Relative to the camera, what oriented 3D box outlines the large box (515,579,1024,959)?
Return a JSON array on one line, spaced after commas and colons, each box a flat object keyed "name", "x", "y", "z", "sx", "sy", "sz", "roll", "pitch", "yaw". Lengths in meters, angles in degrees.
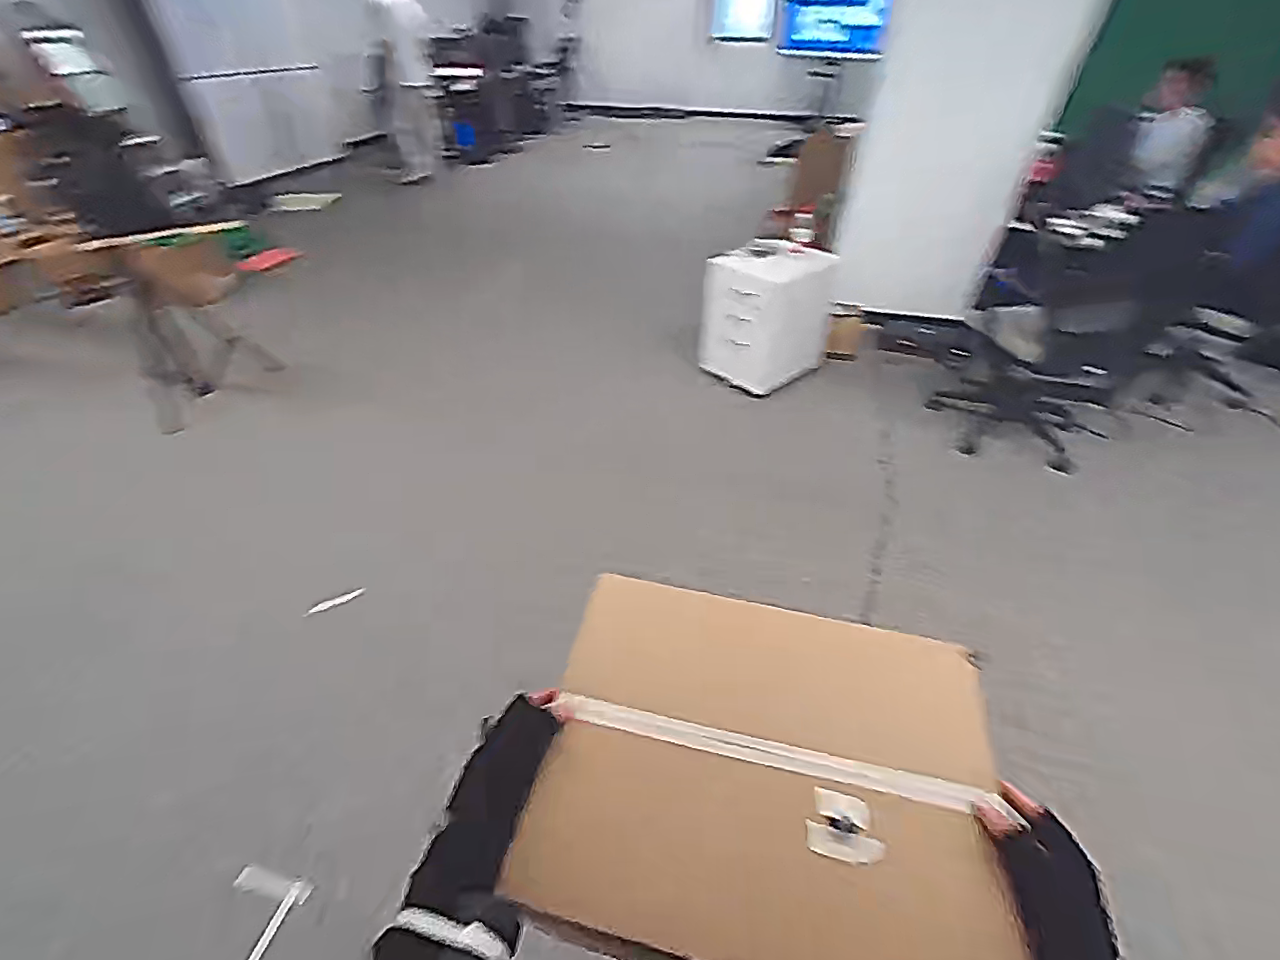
[{"name": "large box", "x": 0.116, "y": 0.357, "z": 0.618, "sx": 0.408, "sy": 0.320, "sz": 0.320, "roll": 10, "pitch": 47, "yaw": 8}]
